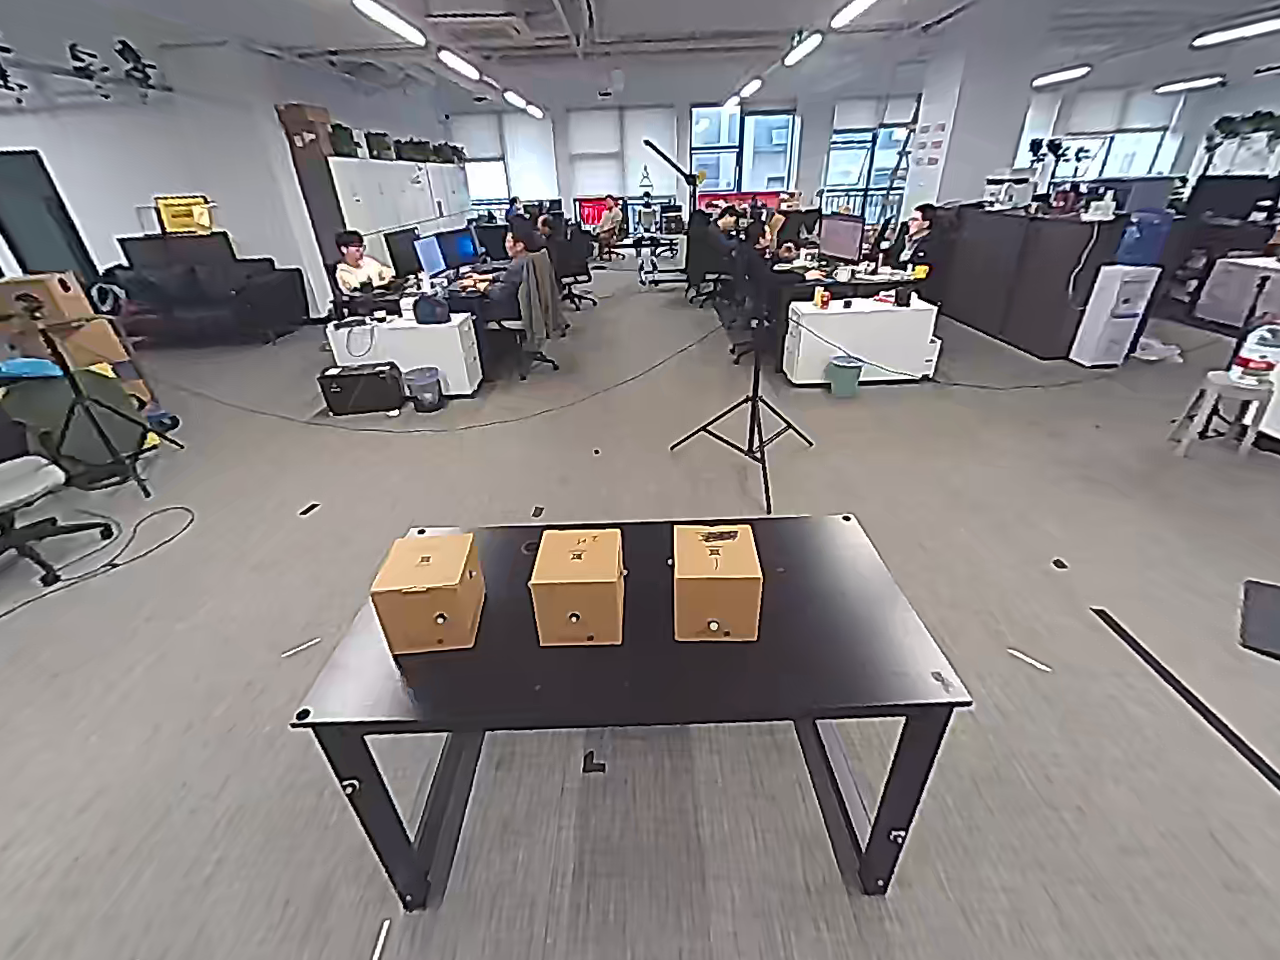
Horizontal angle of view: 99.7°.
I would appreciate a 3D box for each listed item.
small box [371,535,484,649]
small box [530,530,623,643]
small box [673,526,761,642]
[{"bbox_3d":[-0.430,0.236,1.128,0.168,0.176,0.179,-3,28,-5],"label":"small box"},{"bbox_3d":[-0.122,0.222,1.127,0.168,0.176,0.179,-1,29,1],"label":"small box"},{"bbox_3d":[0.153,0.212,1.126,0.168,0.176,0.179,-1,30,3],"label":"small box"}]
